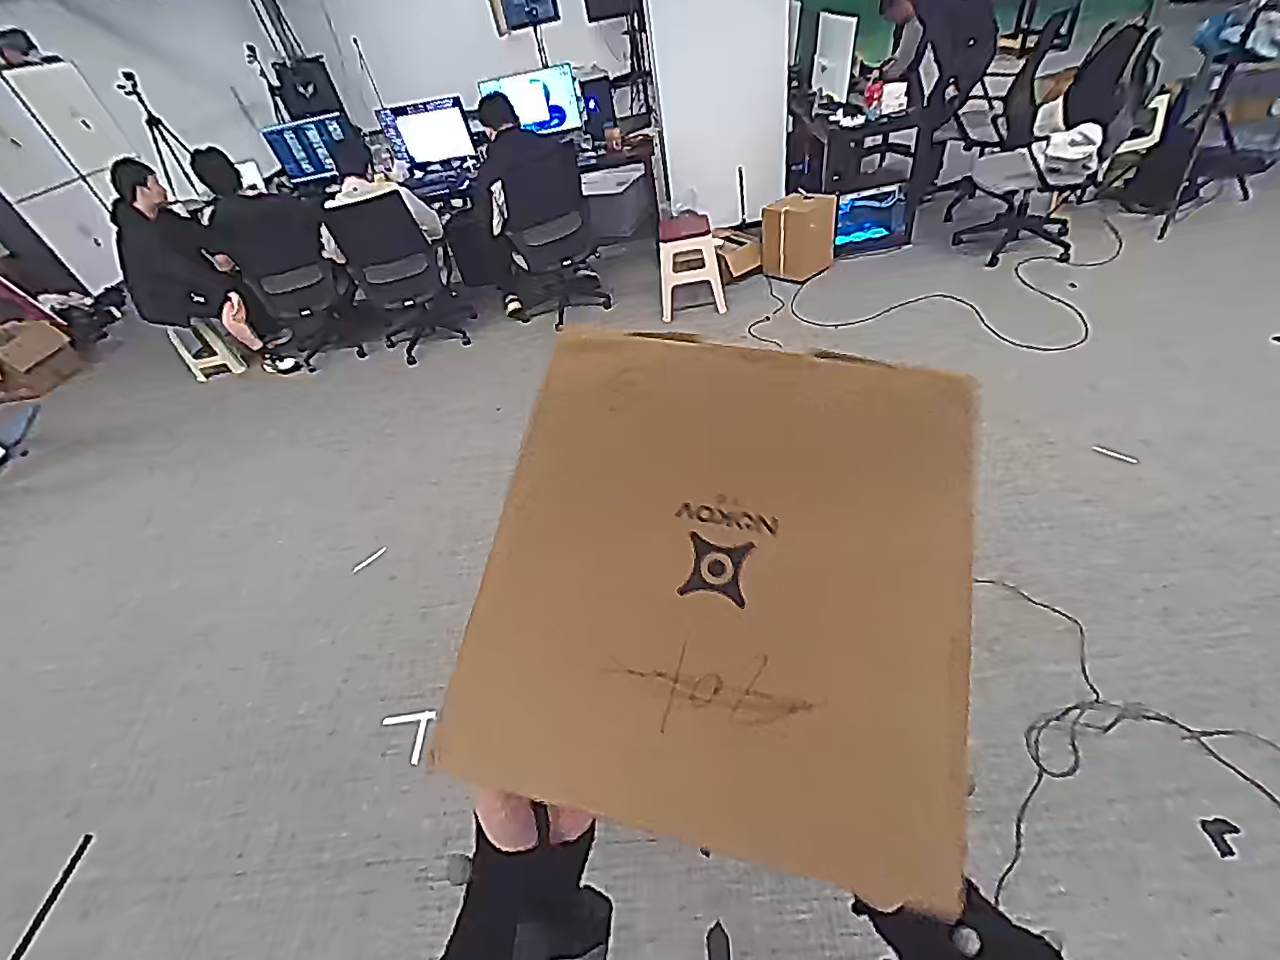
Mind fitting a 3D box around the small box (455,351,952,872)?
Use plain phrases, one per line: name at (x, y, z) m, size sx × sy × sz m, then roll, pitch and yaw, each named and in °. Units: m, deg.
small box at (0.035, 0.058, 0.278) m, size 0.168 × 0.176 × 0.179 m, roll 5°, pitch 71°, yaw 9°
